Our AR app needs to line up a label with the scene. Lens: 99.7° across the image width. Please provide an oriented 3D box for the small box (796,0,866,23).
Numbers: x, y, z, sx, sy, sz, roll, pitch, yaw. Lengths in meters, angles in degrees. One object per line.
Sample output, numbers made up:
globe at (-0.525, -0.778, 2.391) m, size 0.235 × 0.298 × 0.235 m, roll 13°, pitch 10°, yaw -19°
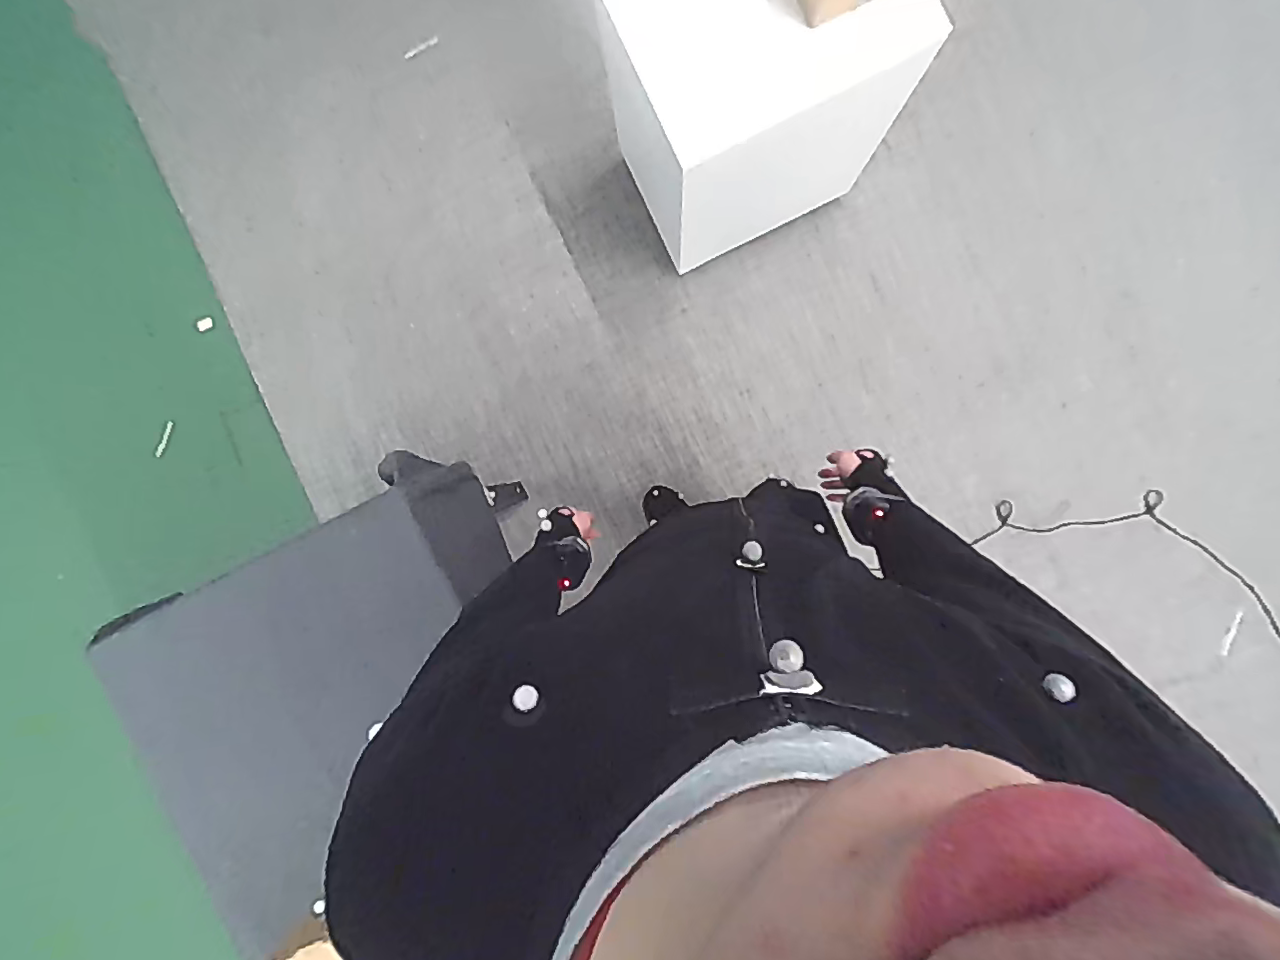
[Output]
small box at (0.330, -0.876, 0.835) m, size 0.179 × 0.176 × 0.168 m, roll -24°, pitch 91°, yaw 3°
